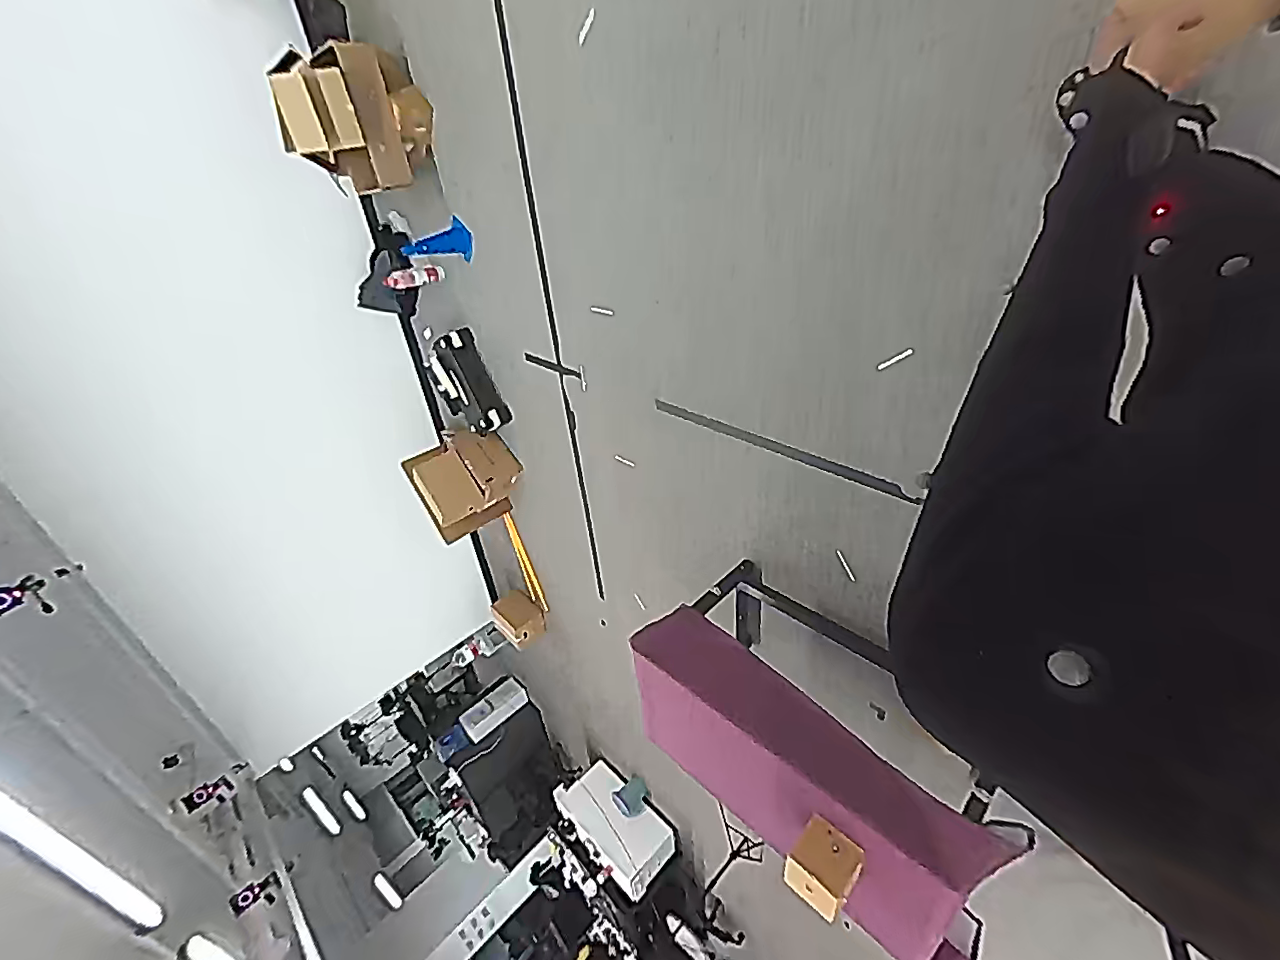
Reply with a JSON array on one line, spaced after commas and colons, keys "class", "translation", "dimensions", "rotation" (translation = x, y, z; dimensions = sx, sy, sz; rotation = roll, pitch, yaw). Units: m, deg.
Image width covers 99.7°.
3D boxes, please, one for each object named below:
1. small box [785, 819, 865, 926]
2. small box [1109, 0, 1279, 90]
[{"class": "small box", "translation": [0.564, 1.191, 1.649], "dimensions": [0.168, 0.176, 0.179], "rotation": [25, 133, 39]}, {"class": "small box", "translation": [0.536, -0.497, 0.478], "dimensions": [0.179, 0.176, 0.168], "rotation": [-21, 105, 53]}]
